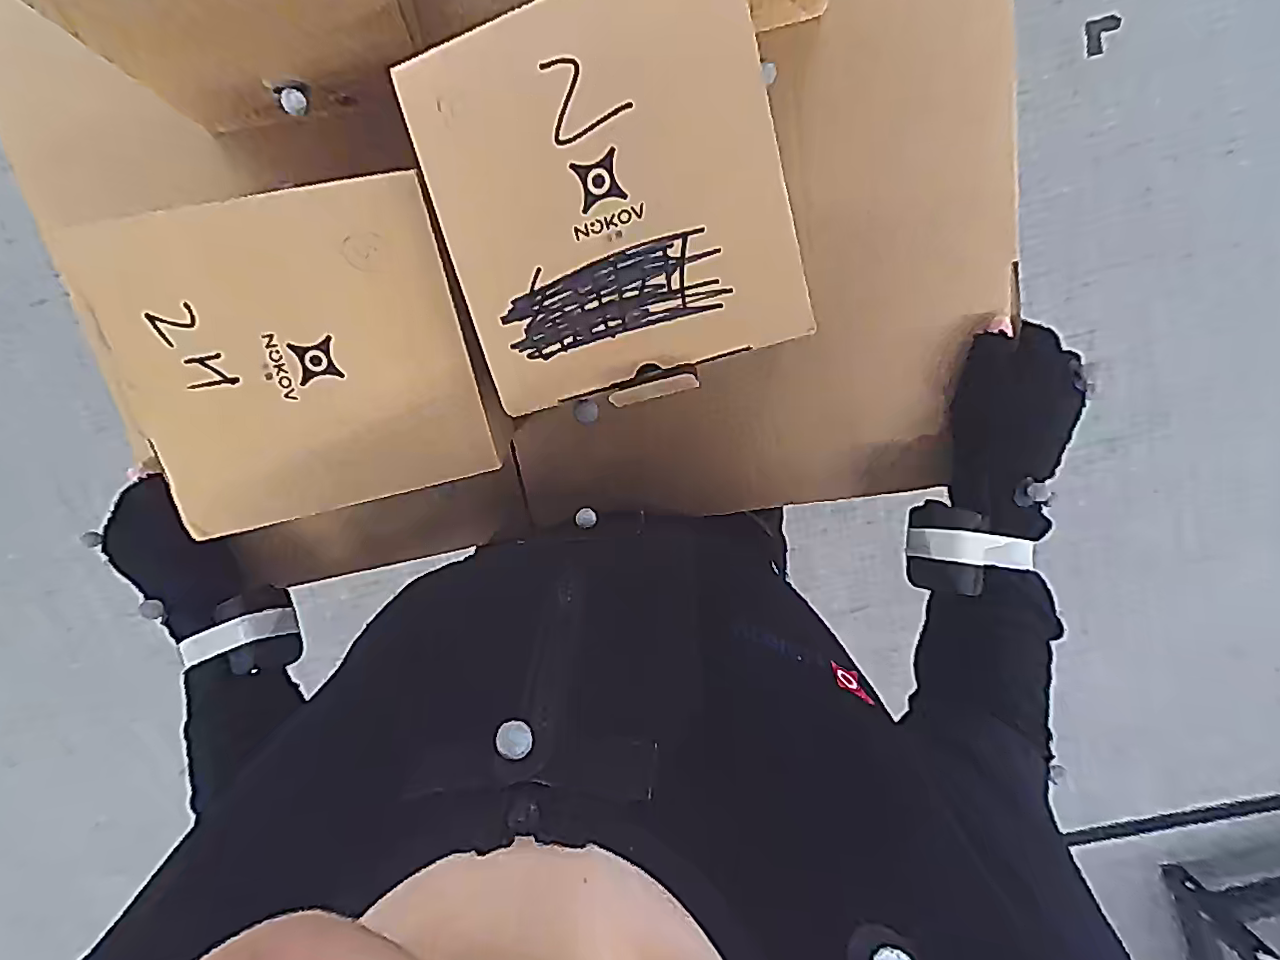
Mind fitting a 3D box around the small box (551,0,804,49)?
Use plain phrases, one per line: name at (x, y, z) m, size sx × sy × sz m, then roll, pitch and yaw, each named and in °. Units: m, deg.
small box at (0.013, -0.365, 0.278) m, size 0.168 × 0.176 × 0.179 m, roll -6°, pitch 103°, yaw 11°
